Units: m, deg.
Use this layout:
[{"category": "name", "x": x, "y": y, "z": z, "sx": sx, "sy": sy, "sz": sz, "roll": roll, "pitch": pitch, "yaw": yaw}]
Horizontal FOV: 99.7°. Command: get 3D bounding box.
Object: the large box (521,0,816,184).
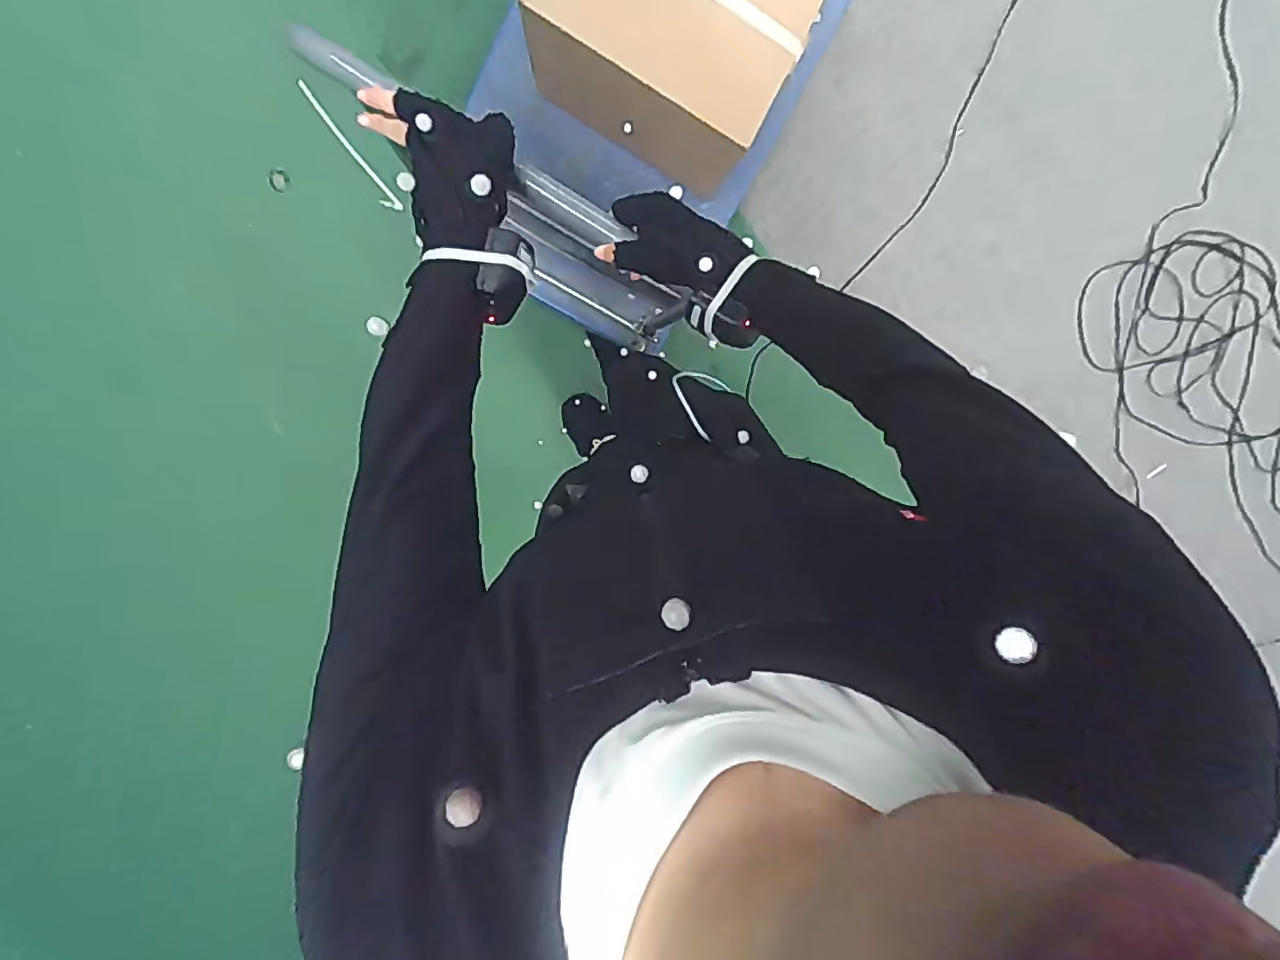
[{"category": "large box", "x": 0.054, "y": -0.801, "z": 0.952, "sx": 0.408, "sy": 0.320, "sz": 0.320, "roll": 26, "pitch": 100, "yaw": -11}]
